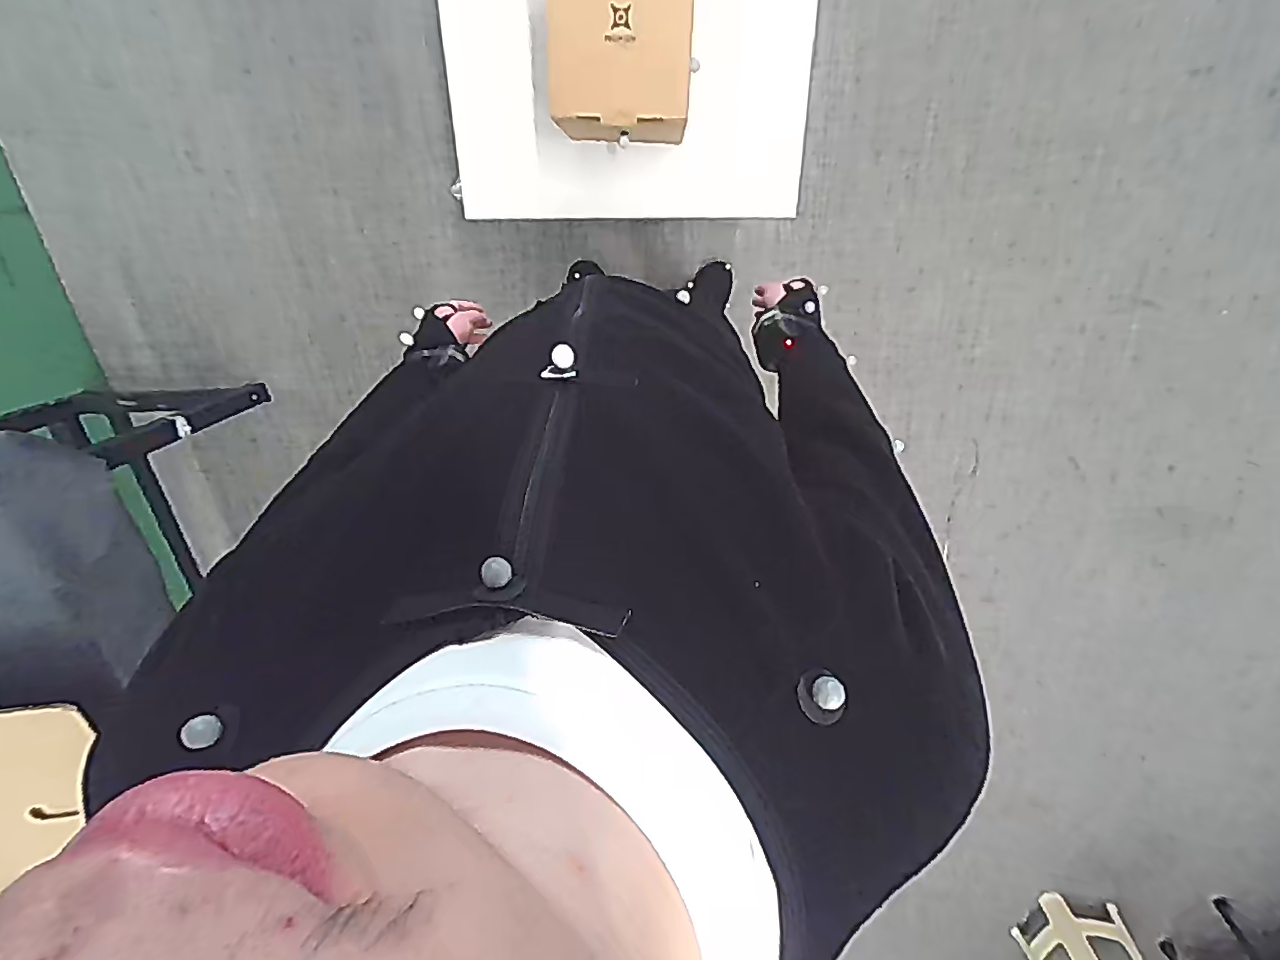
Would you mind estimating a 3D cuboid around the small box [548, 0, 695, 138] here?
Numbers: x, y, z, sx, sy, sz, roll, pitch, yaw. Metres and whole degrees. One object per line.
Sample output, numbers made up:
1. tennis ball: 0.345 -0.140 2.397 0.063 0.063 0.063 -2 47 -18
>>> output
1. small box: -0.017 -0.541 0.677 0.168 0.176 0.179 1 114 2
